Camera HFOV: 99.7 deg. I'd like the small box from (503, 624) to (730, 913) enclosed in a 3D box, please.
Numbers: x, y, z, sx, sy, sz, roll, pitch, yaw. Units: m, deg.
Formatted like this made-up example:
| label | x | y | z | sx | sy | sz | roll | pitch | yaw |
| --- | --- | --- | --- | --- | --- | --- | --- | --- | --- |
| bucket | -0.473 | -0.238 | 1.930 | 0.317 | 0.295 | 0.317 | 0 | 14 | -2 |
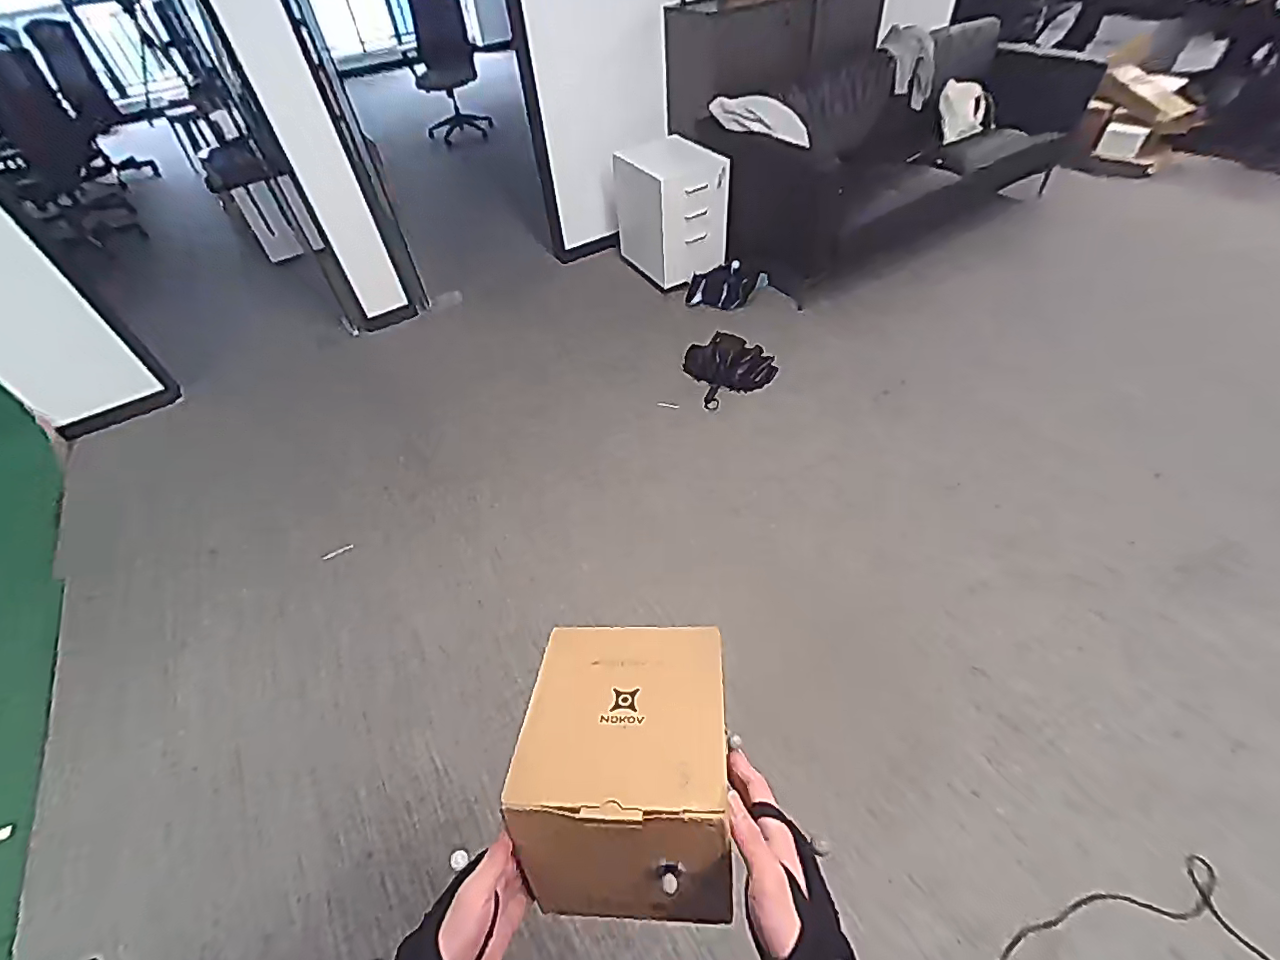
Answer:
| label | x | y | z | sx | sy | sz | roll | pitch | yaw |
| --- | --- | --- | --- | --- | --- | --- | --- | --- | --- |
| small box | -0.005 | 0.253 | 0.490 | 0.168 | 0.176 | 0.179 | -2 | 30 | 6 |
